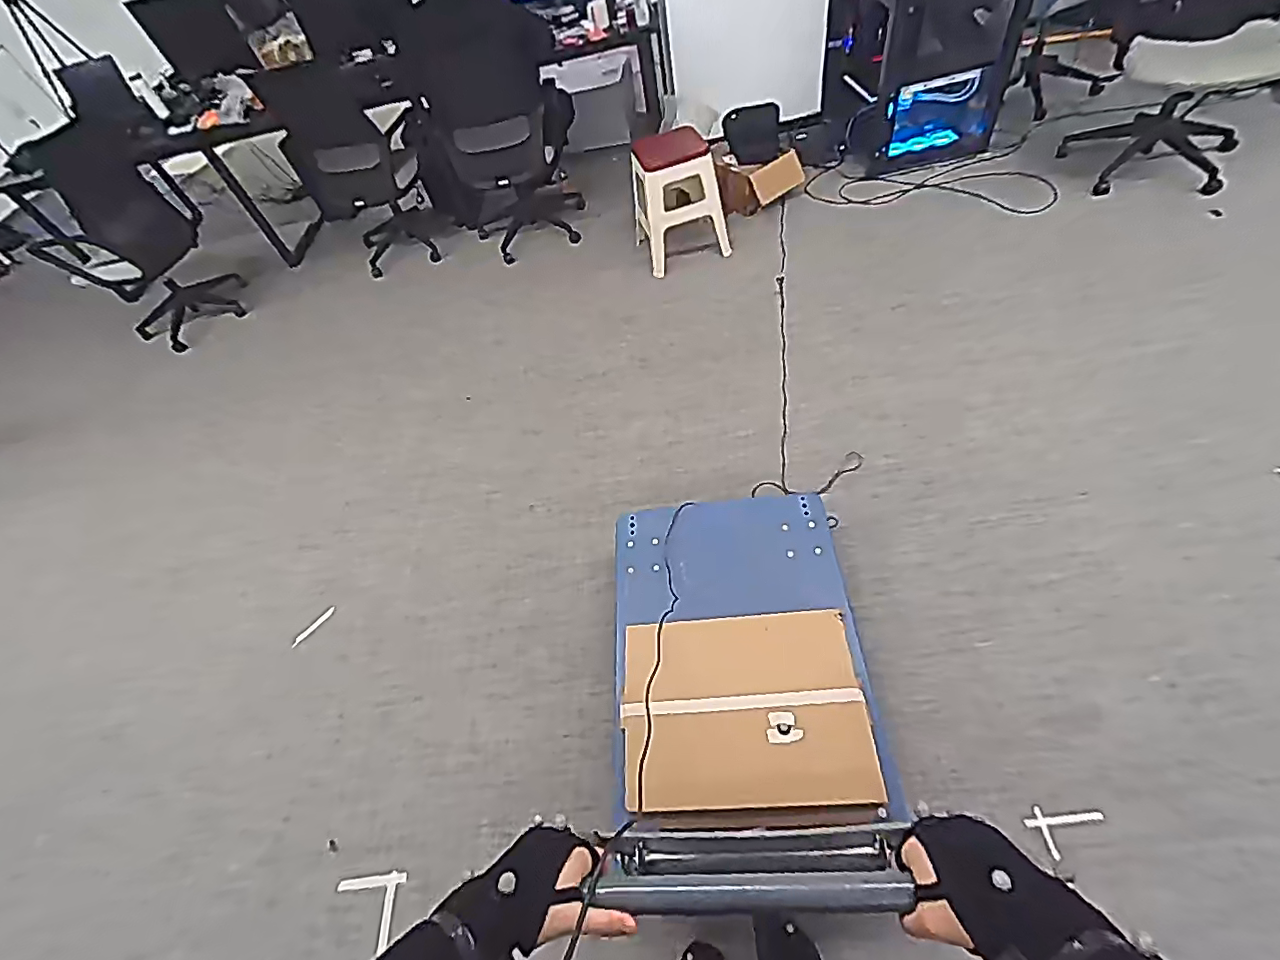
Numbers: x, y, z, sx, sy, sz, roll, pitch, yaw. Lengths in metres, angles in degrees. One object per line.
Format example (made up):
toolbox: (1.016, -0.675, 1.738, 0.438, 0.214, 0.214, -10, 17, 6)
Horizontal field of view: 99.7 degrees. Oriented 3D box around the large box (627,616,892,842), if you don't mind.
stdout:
large box: (0.197, 0.480, 1.023, 0.408, 0.320, 0.320, -7, 53, 7)
